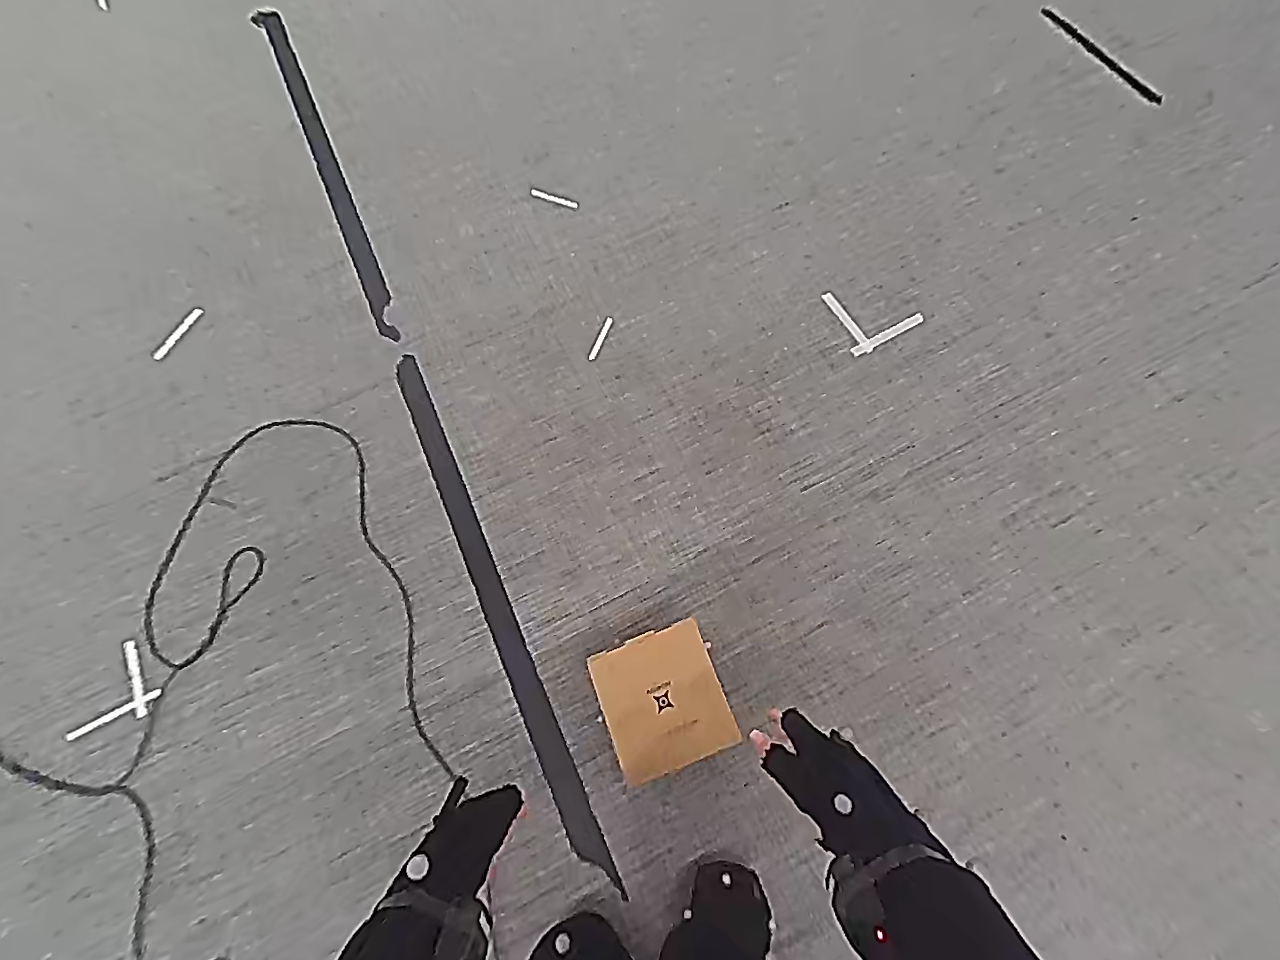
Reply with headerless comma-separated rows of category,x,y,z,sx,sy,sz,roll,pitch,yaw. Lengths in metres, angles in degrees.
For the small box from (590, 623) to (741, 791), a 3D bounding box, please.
small box,0.034,0.335,0.818,0.168,0.176,0.179,-20,71,-5
